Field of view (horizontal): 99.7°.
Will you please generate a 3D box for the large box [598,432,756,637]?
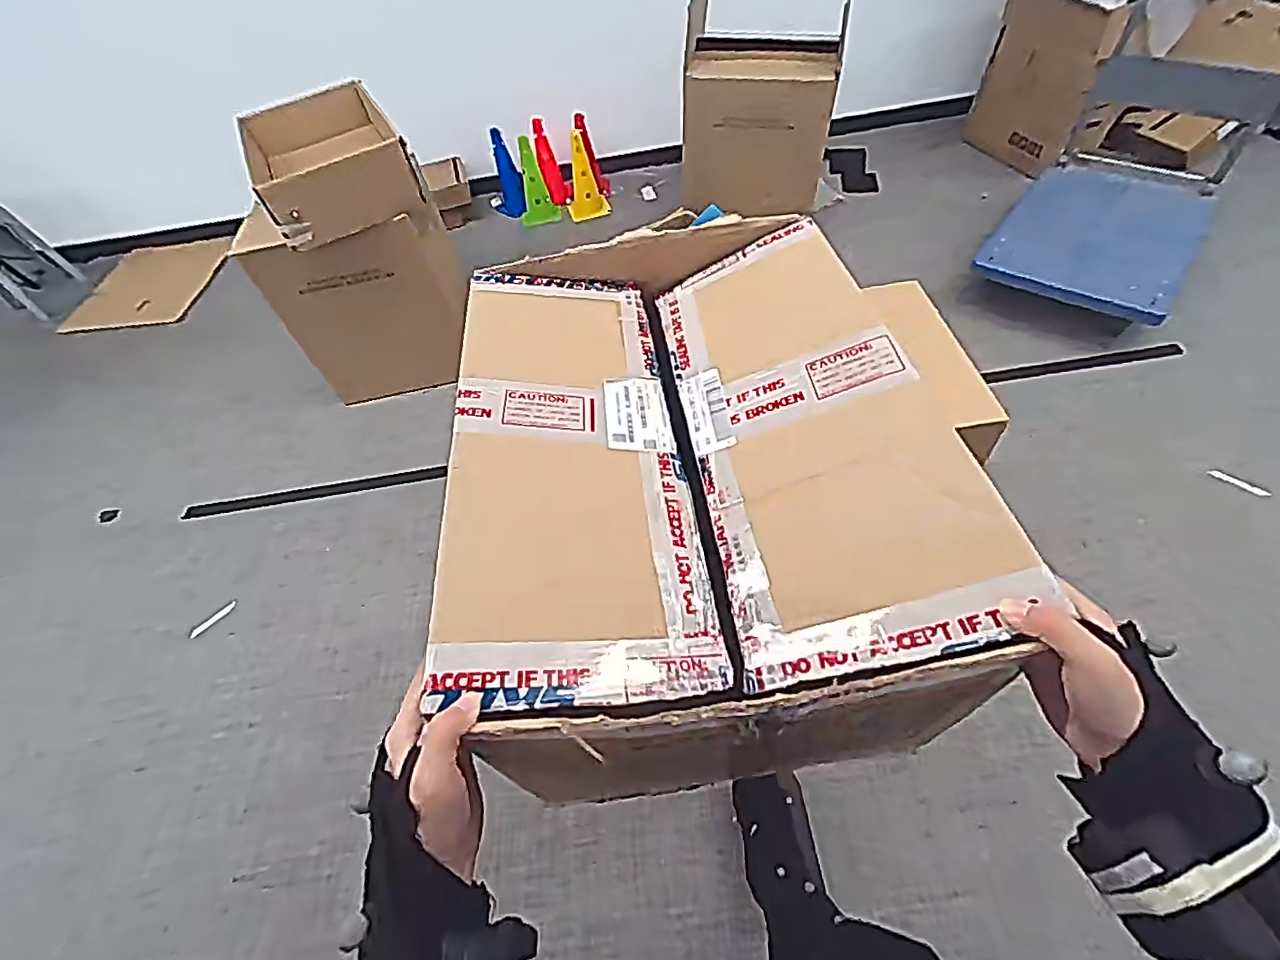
[{"bbox_3d":[0.085,0.142,1.394,0.320,0.320,0.408,-10,54,1],"label":"large box"}]
